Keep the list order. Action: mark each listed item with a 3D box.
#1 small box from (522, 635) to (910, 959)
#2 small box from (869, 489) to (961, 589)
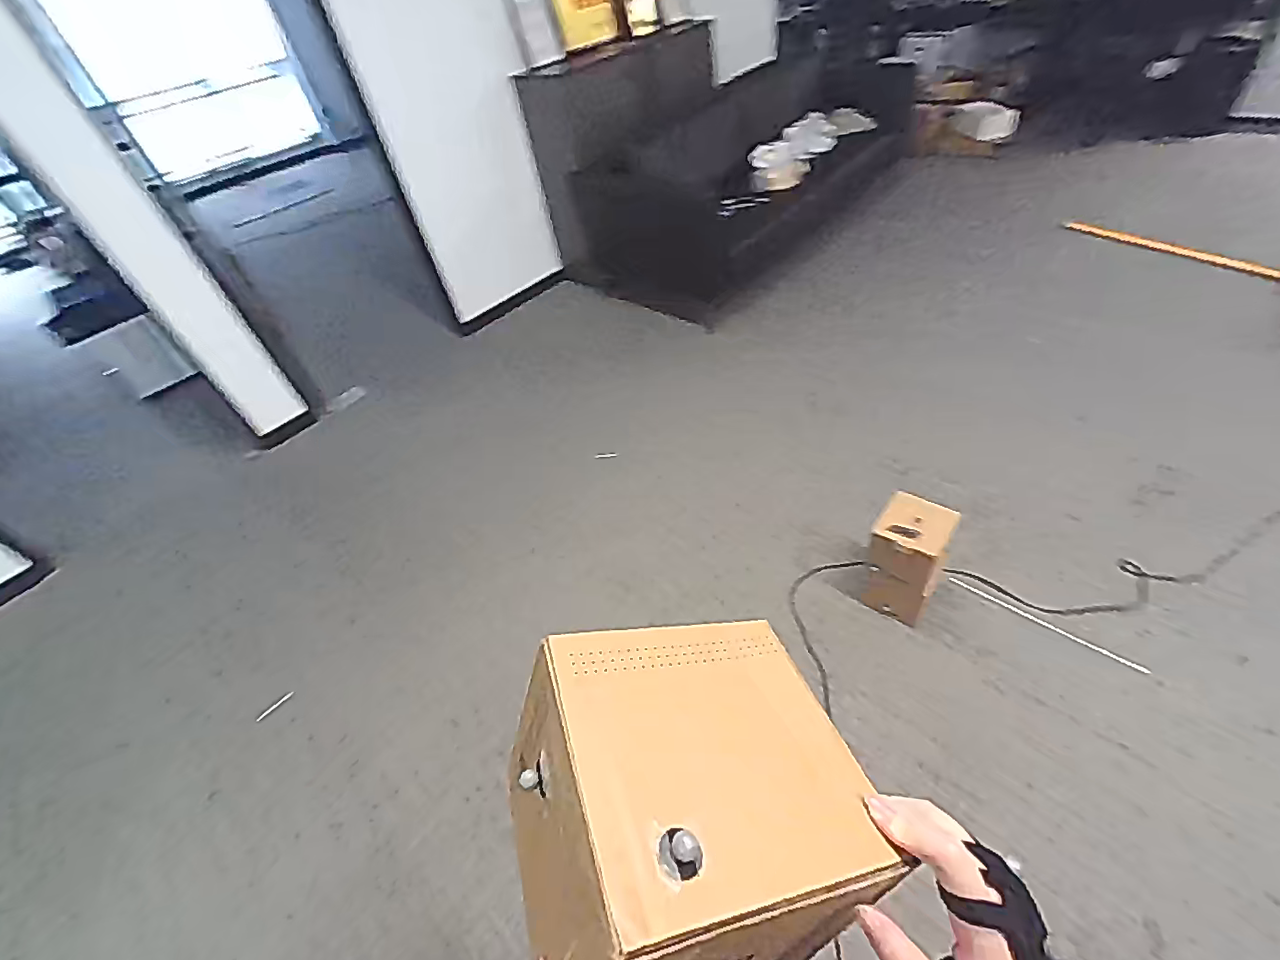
[{"bbox_3d":[0.026,0.221,0.364,0.179,0.168,0.176,4,33,-21],"label":"small box"},{"bbox_3d":[0.740,0.163,1.468,0.168,0.176,0.179,24,55,33],"label":"small box"}]
